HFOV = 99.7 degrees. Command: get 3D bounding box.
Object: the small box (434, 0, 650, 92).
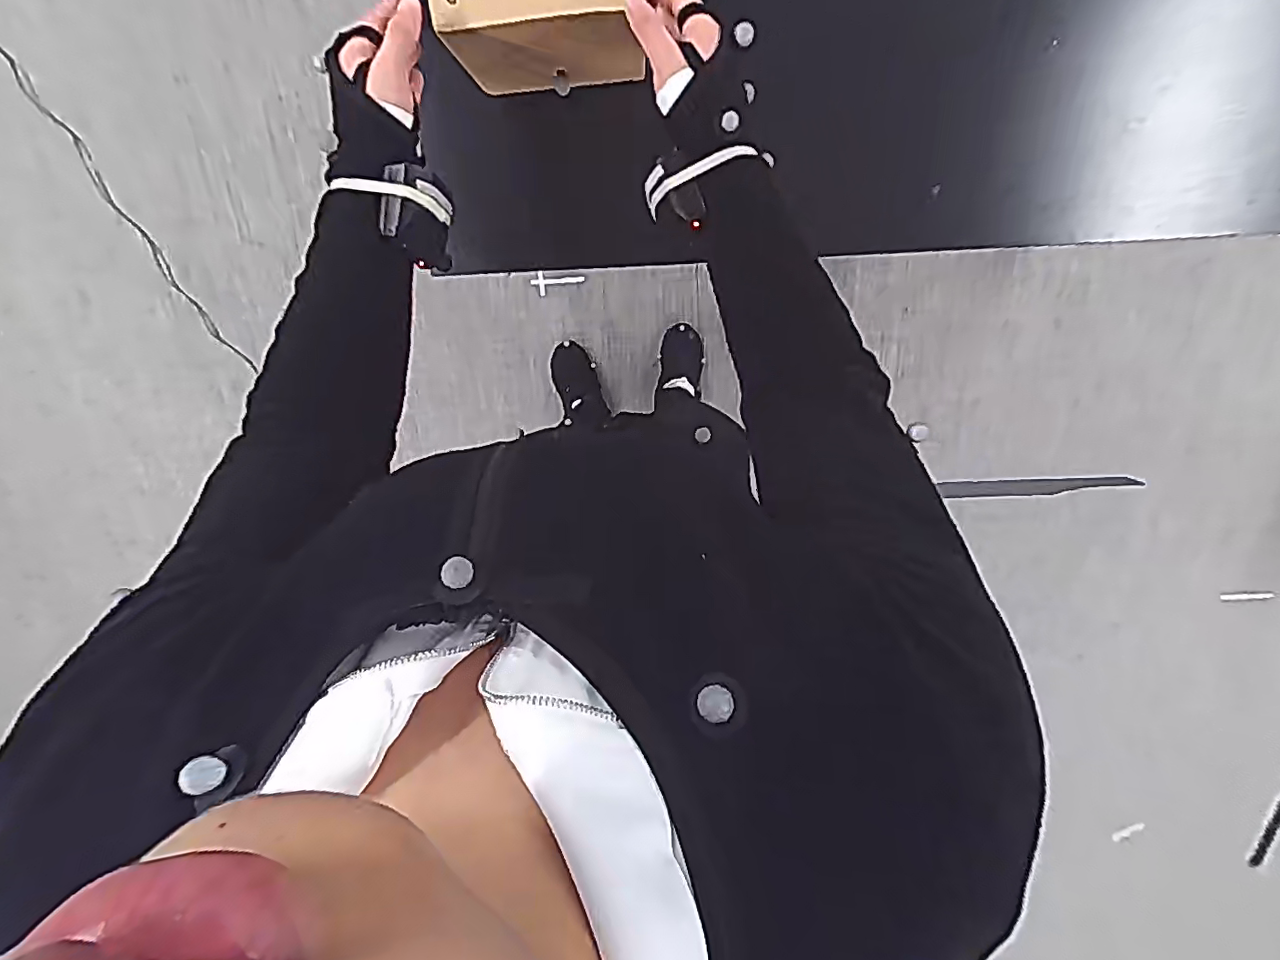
[{"bbox_3d":[-0.086,-0.477,0.488,0.179,0.176,0.168,-5,110,1],"label":"small box"}]
